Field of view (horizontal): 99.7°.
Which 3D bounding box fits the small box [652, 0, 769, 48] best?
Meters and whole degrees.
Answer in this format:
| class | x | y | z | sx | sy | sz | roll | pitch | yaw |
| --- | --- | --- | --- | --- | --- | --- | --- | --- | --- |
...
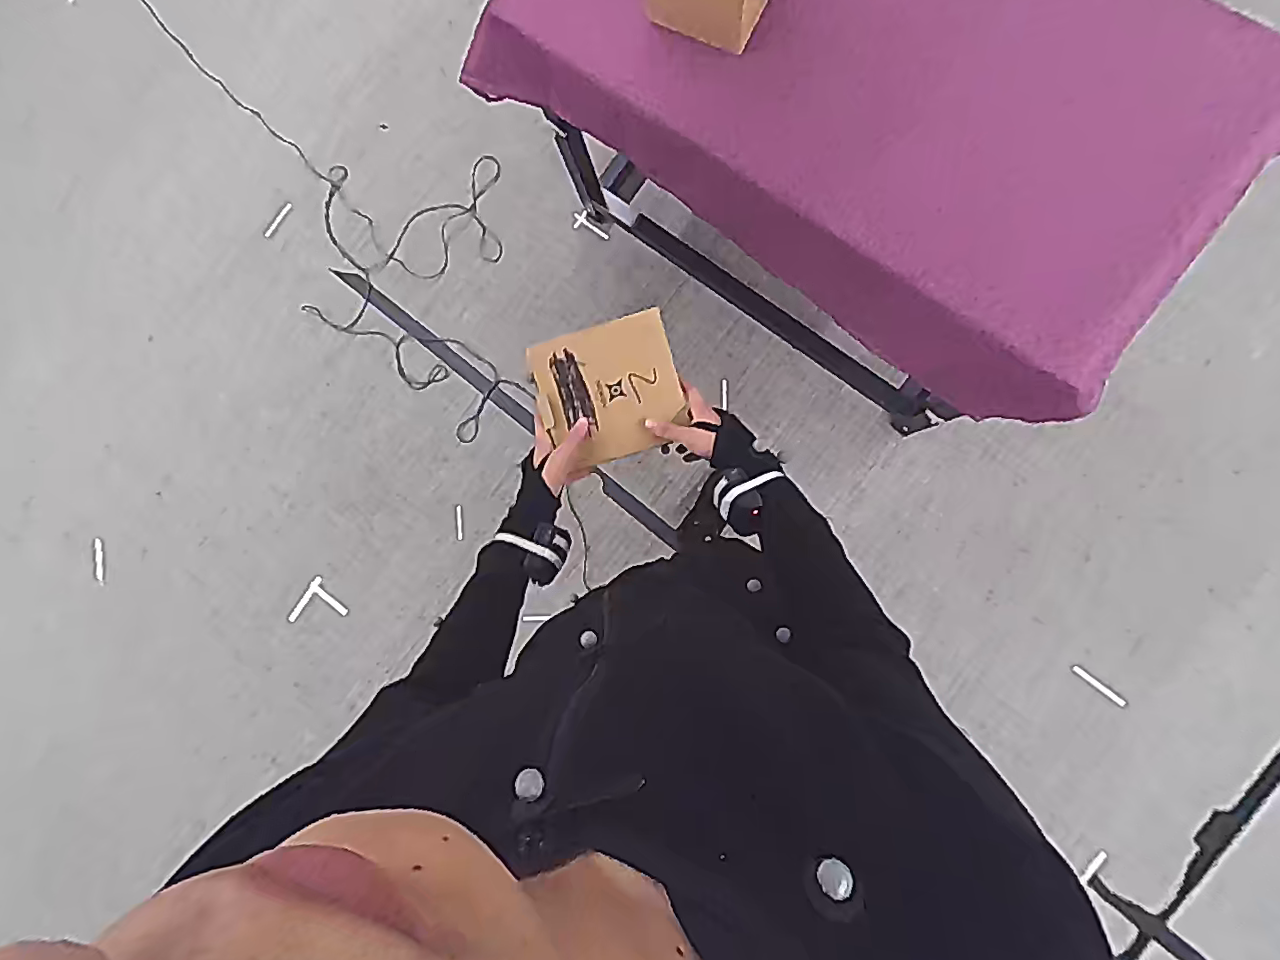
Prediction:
| class | x | y | z | sx | sy | sz | roll | pitch | yaw |
| --- | --- | --- | --- | --- | --- | --- | --- | --- | --- |
| small box | 0.121 | -0.832 | 0.842 | 0.179 | 0.176 | 0.168 | 27 | 91 | 7 |
